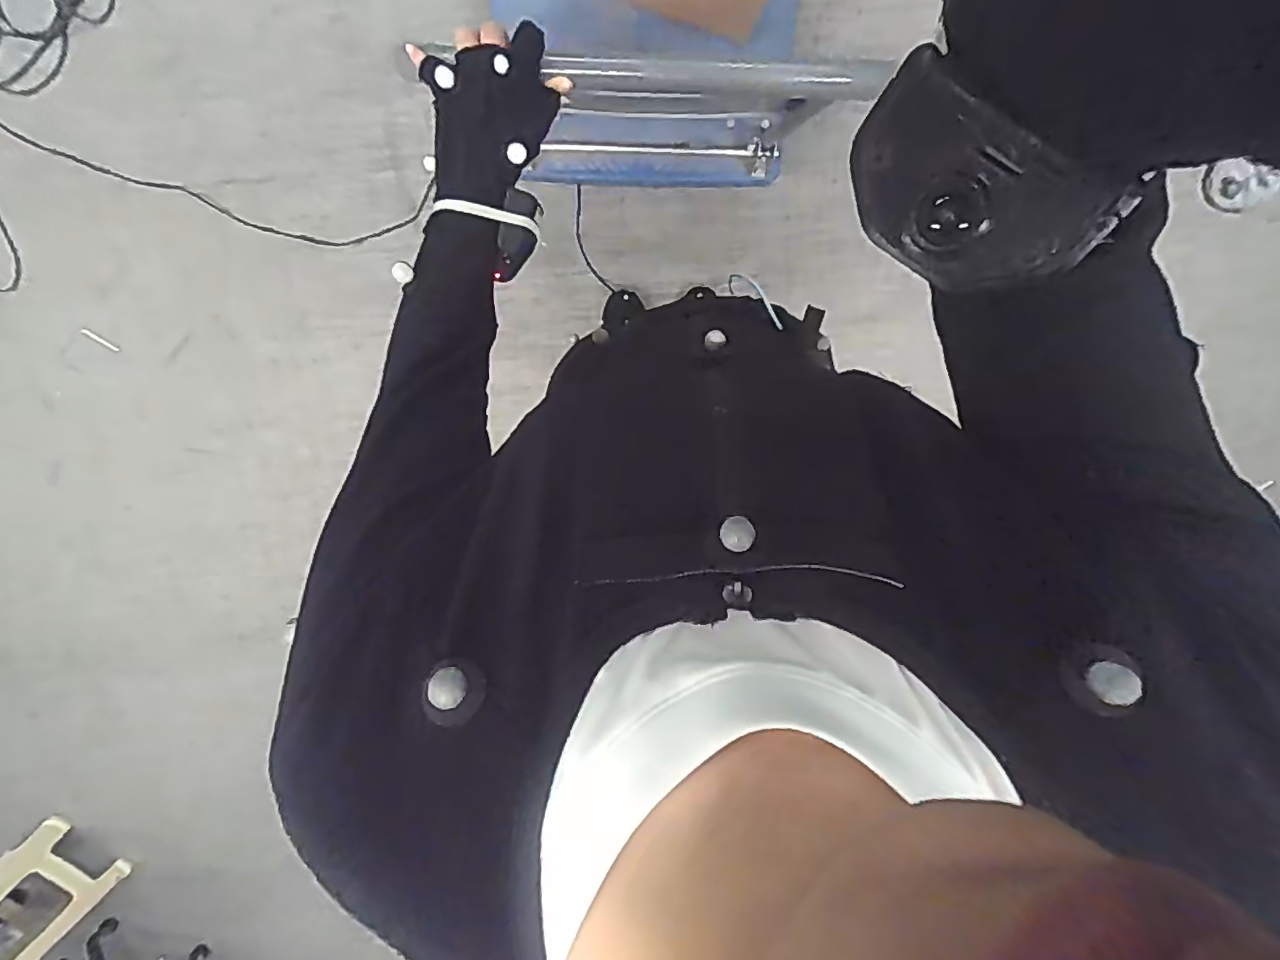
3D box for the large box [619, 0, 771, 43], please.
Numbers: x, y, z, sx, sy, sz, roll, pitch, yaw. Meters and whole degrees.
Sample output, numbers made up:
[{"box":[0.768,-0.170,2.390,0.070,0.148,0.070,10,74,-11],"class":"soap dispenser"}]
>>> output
[{"box":[0.059,-0.965,0.831,0.408,0.320,0.320,16,110,-5],"class":"large box"}]
